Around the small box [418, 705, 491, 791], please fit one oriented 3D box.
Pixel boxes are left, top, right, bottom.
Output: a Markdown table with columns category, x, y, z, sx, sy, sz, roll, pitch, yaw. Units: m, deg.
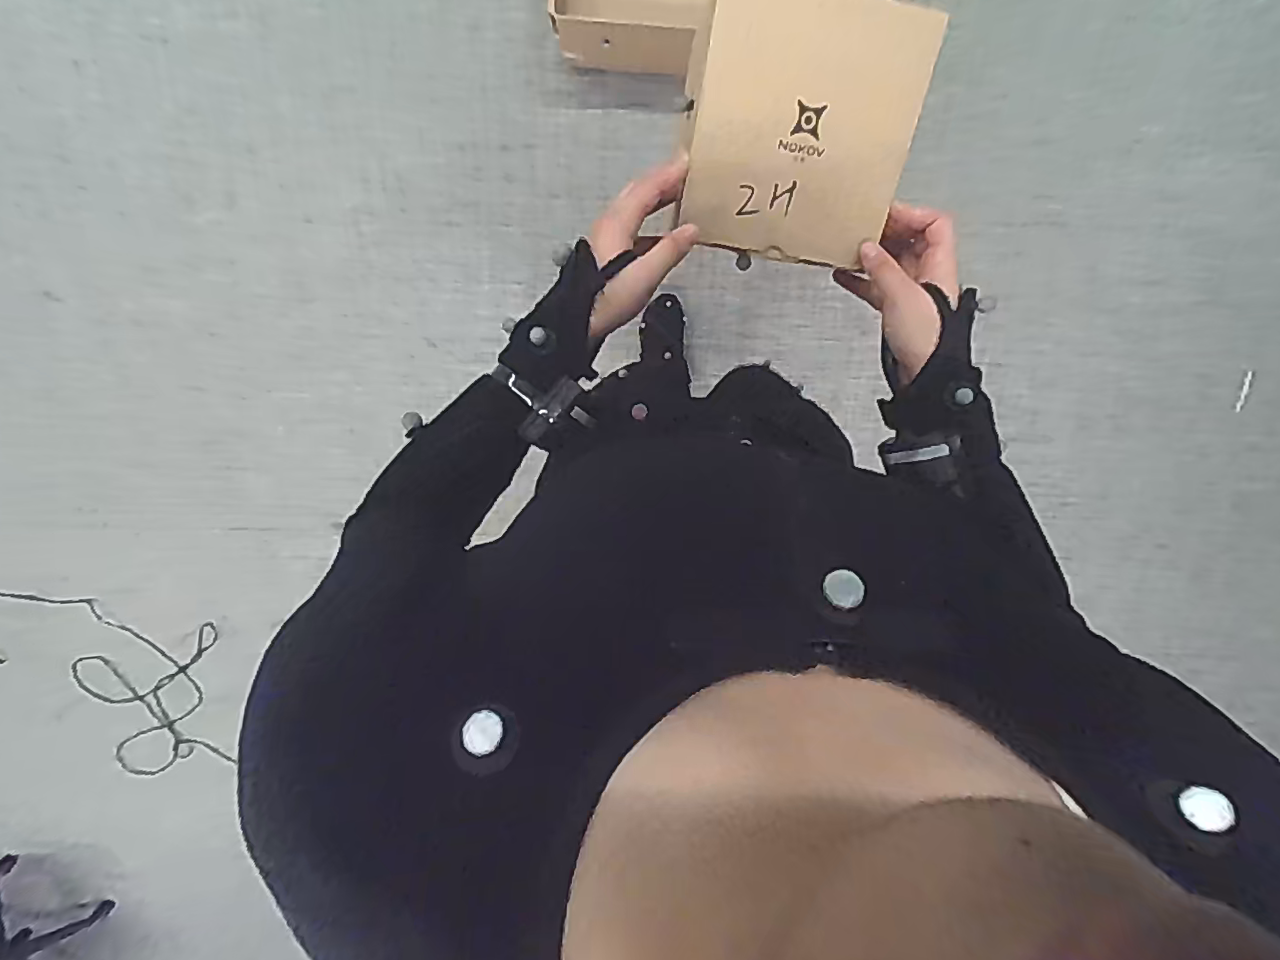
| category | x | y | z | sx | sy | sz | roll | pitch | yaw |
| --- | --- | --- | --- | --- | --- | --- | --- | --- | --- |
| small box | -0.559 | 0.811 | 1.646 | 0.179 | 0.176 | 0.168 | 3 | 106 | 1 |

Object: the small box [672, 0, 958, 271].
| category | x | y | z | sx | sy | sz | roll | pitch | yaw |
| --- | --- | --- | --- | --- | --- | --- | --- | --- | --- |
| small box | 0.125 | -0.293 | 0.472 | 0.168 | 0.176 | 0.179 | 8 | 115 | -5 |
